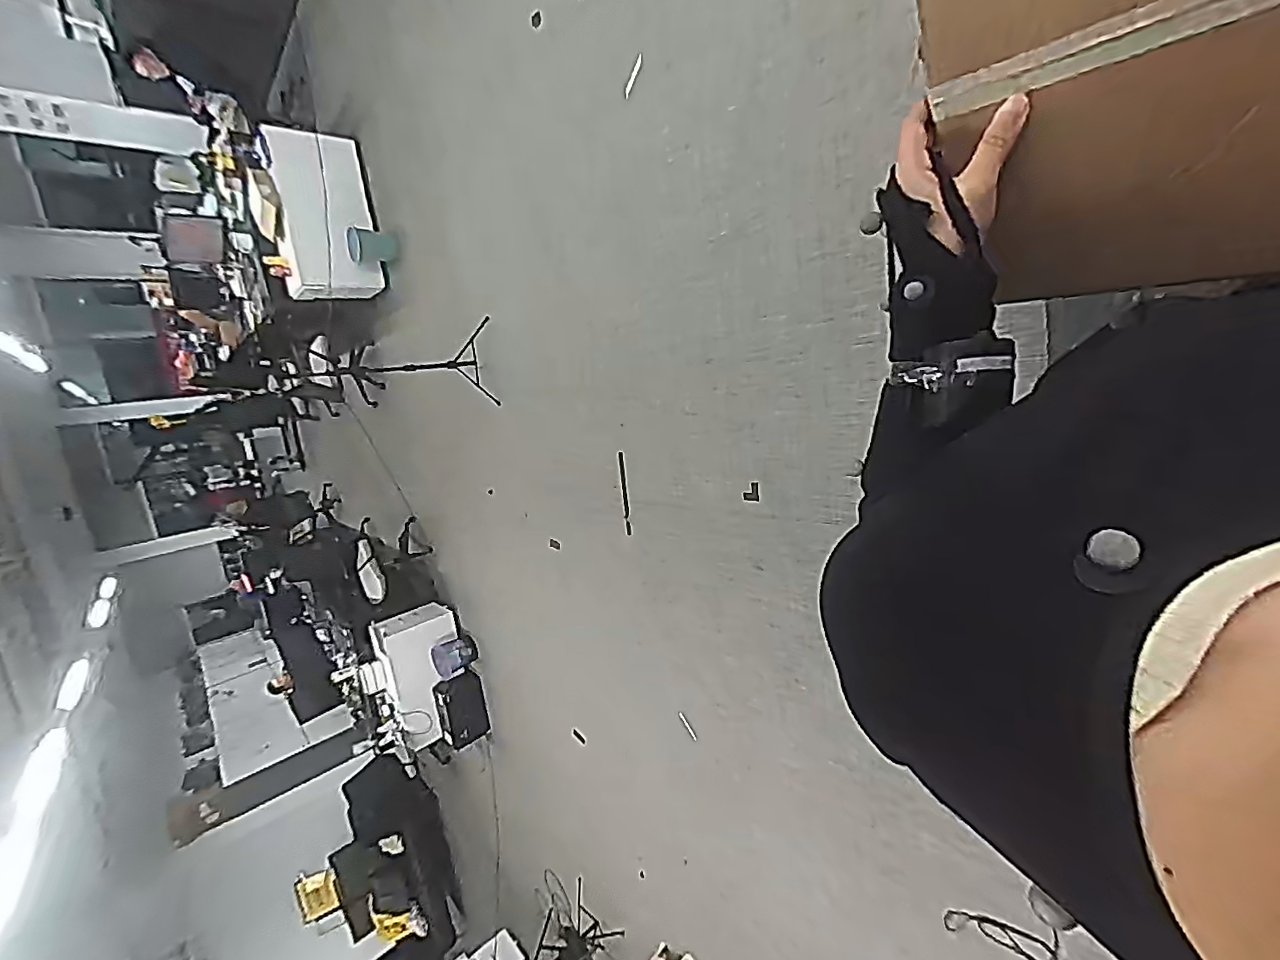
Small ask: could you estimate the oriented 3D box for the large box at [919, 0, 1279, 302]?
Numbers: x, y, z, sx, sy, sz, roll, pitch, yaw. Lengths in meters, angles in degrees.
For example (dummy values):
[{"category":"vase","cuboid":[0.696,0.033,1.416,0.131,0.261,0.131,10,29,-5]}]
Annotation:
[{"category":"large box","cuboid":[0.417,-0.342,0.289,0.408,0.320,0.320,7,140,46]}]
